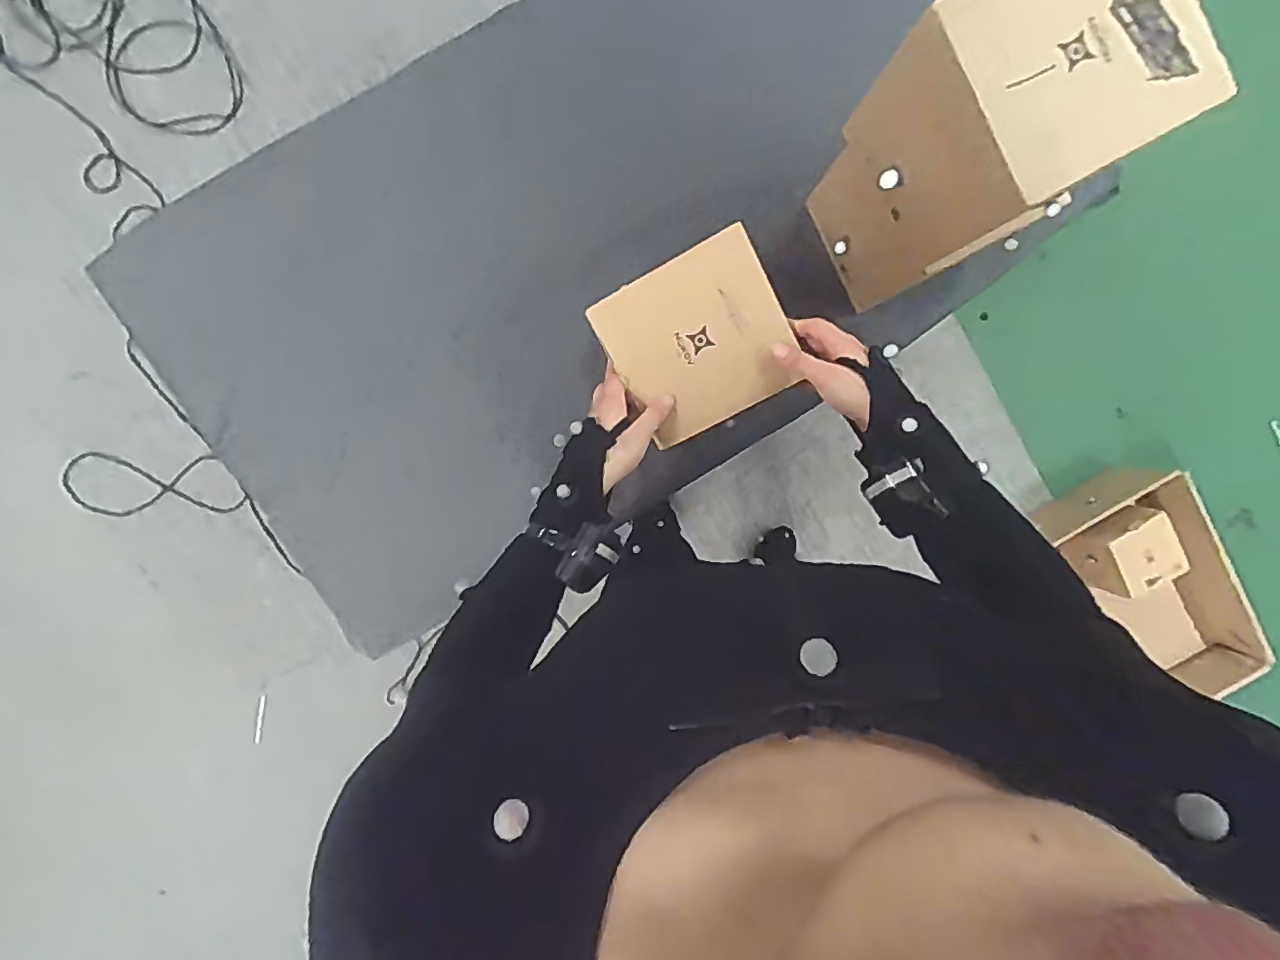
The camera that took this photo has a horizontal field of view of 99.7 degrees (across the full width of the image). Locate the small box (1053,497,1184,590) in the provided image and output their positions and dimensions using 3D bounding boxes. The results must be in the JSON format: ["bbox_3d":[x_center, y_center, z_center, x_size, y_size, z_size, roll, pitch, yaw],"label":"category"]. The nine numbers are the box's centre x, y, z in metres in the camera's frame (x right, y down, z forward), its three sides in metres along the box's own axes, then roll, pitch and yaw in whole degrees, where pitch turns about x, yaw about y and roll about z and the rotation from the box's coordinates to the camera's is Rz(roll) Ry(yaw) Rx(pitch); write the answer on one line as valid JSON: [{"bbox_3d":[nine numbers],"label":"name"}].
[{"bbox_3d":[1.247,0.156,1.423,0.168,0.176,0.179,-30,97,1],"label":"small box"}]

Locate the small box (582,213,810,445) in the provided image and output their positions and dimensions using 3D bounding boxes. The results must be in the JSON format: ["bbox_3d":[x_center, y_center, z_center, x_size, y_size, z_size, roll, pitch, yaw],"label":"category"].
[{"bbox_3d":[0.061,-0.158,0.604,0.179,0.176,0.168,-27,99,10],"label":"small box"}]

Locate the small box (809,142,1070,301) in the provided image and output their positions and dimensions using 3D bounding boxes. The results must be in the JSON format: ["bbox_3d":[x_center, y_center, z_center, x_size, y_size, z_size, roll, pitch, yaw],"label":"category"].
[{"bbox_3d":[0.329,-0.334,0.628,0.179,0.176,0.168,-28,95,2],"label":"small box"}]

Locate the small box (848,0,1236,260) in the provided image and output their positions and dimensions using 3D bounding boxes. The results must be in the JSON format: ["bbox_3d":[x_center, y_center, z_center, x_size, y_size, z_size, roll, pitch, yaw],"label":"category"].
[{"bbox_3d":[0.316,-0.322,0.464,0.179,0.176,0.168,-29,95,2],"label":"small box"}]
